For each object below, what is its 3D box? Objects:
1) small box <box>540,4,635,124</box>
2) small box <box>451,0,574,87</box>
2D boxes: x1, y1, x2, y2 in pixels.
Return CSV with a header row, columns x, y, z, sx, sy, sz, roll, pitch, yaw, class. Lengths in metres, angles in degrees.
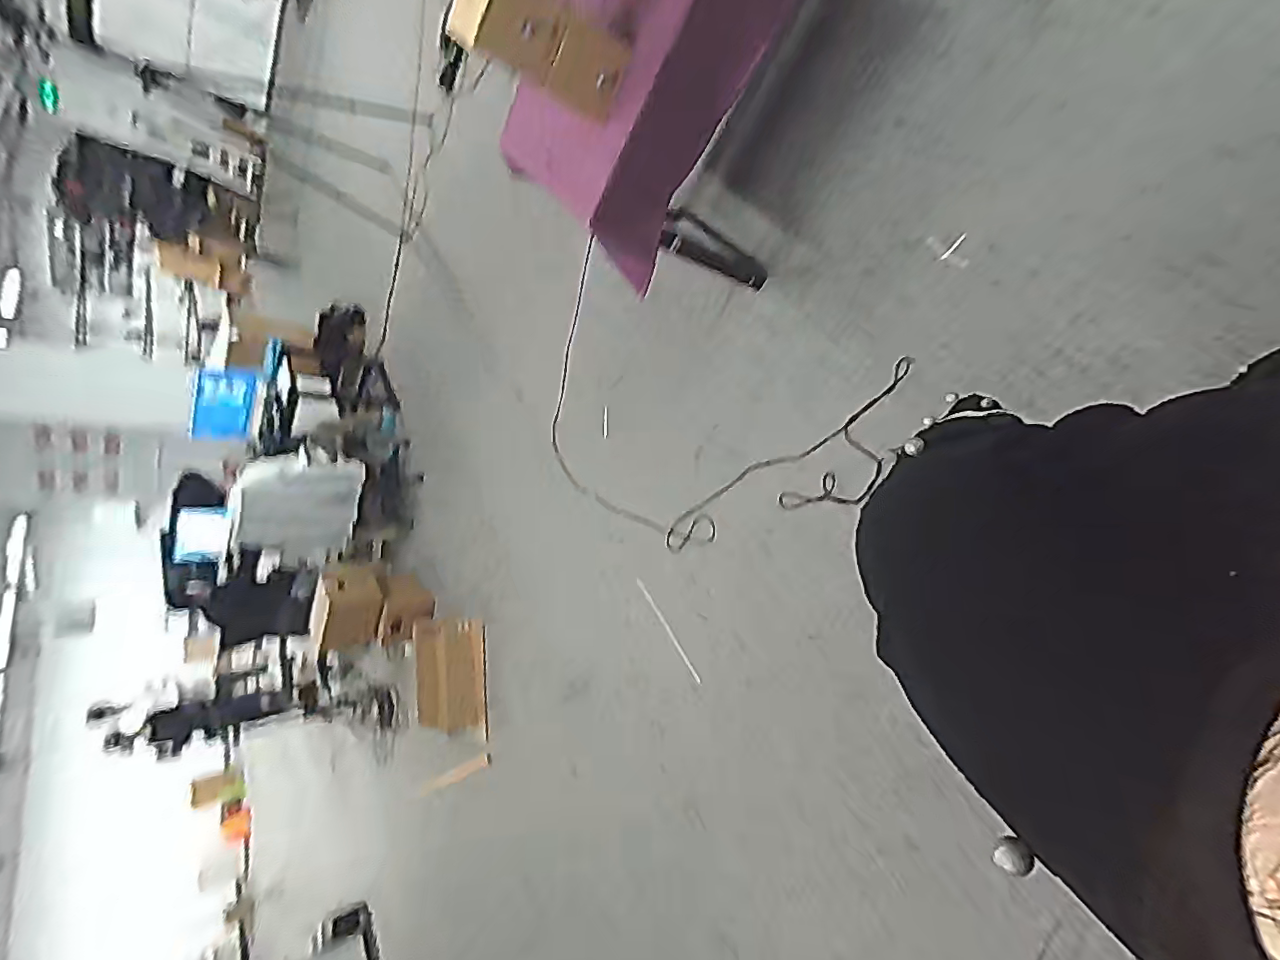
x,y,z,sx,sy,sz,roll,pitch,yaw,class
-0.145,-0.962,1.244,0.168,0.176,0.179,-56,53,30,small box
-0.266,-0.969,1.132,0.168,0.176,0.179,-55,53,28,small box
